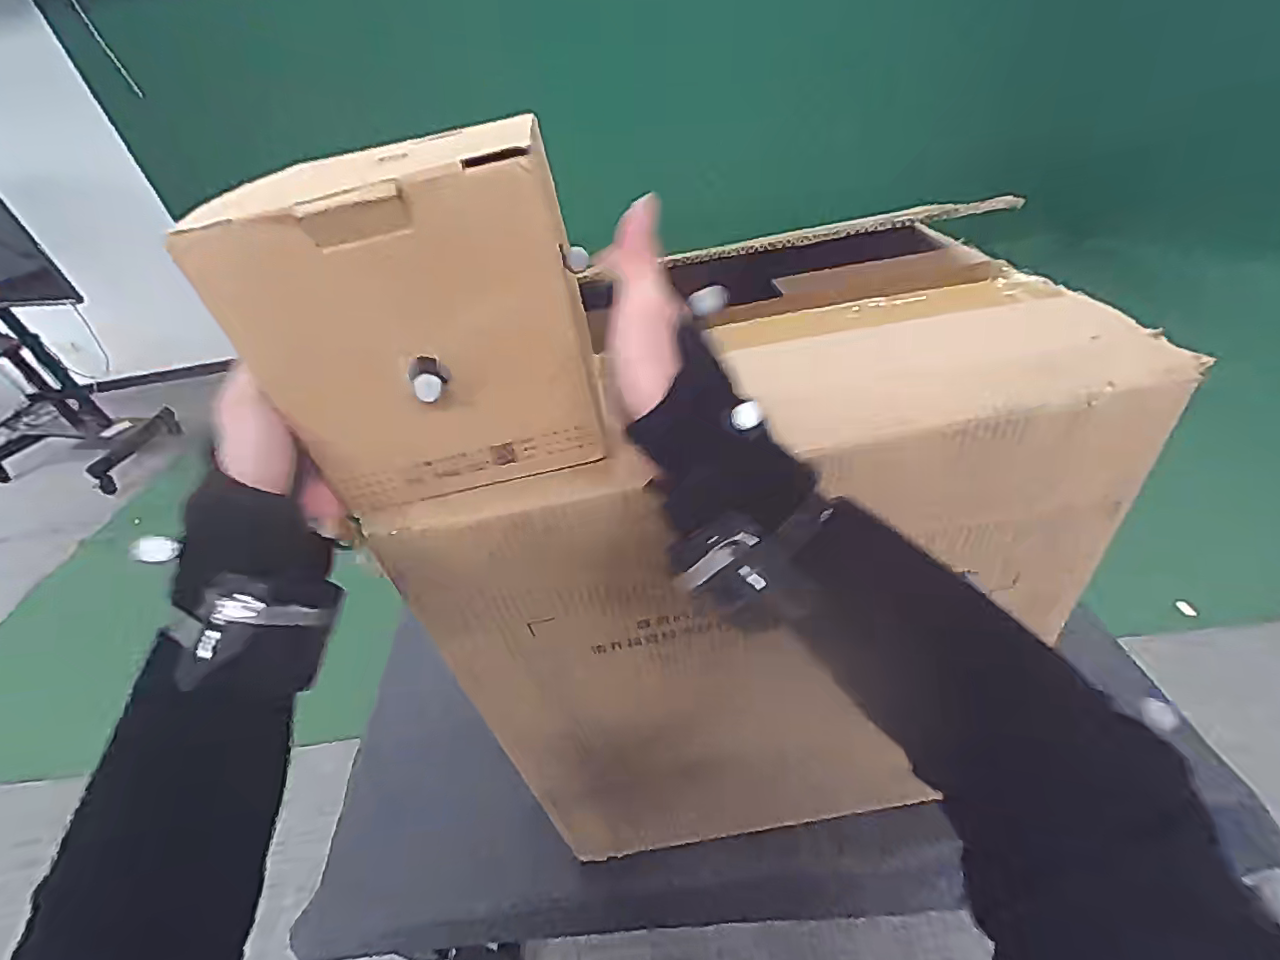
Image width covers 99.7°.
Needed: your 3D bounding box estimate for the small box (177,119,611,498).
[{"bbox_3d":[-0.121,-0.106,0.348,0.168,0.176,0.179,-14,40,-2],"label":"small box"}]
